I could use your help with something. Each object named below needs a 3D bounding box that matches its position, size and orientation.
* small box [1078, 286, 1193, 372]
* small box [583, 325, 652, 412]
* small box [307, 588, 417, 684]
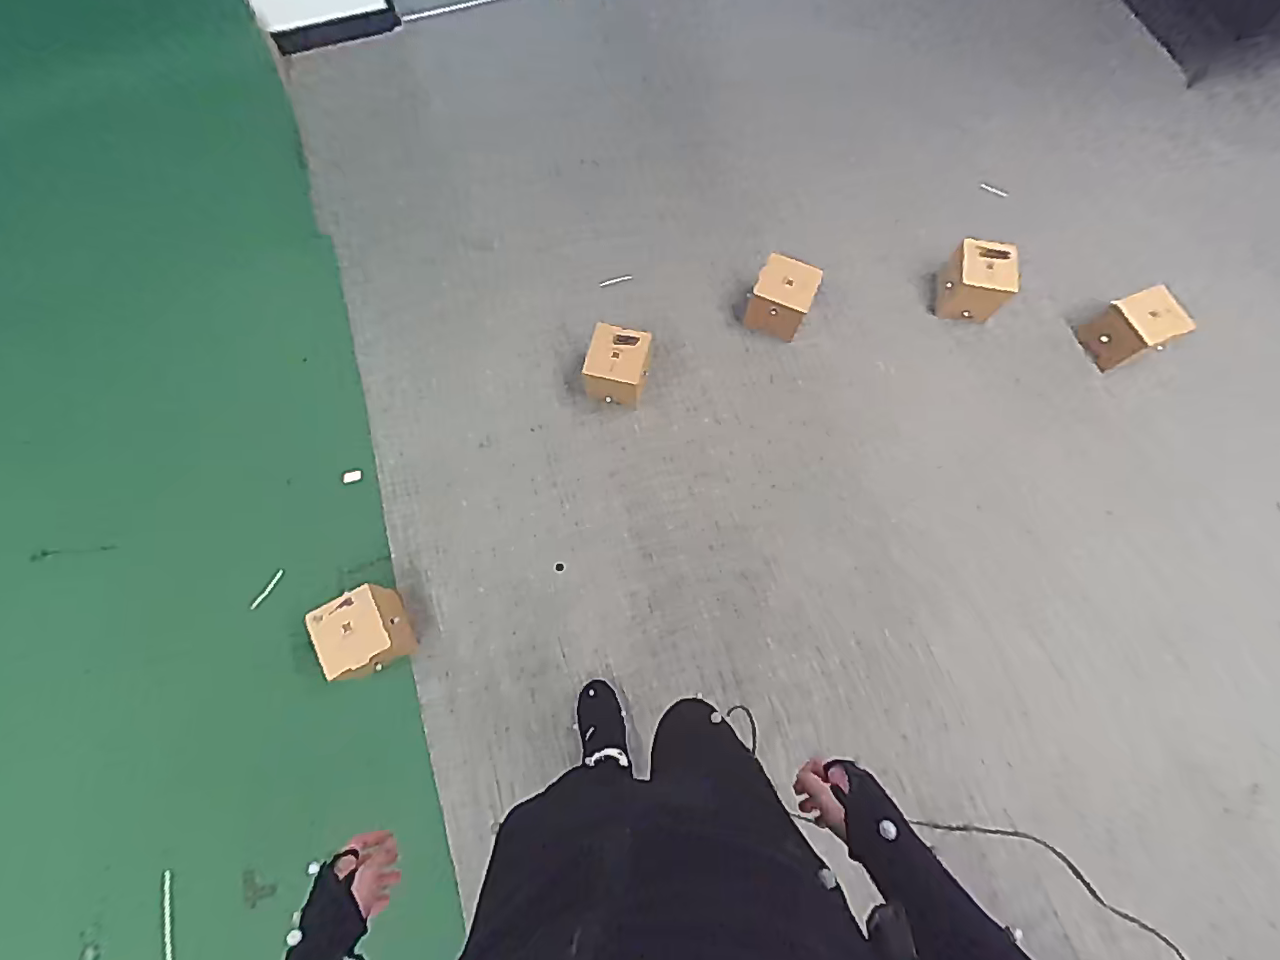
[{"bbox_3d":[1.523,-0.463,1.682,0.179,0.176,0.168,-21,74,-7],"label":"small box"},{"bbox_3d":[-0.066,-0.332,1.630,0.168,0.176,0.179,13,73,4],"label":"small box"},{"bbox_3d":[-0.703,0.397,1.385,0.168,0.176,0.179,-28,74,-9],"label":"small box"}]
